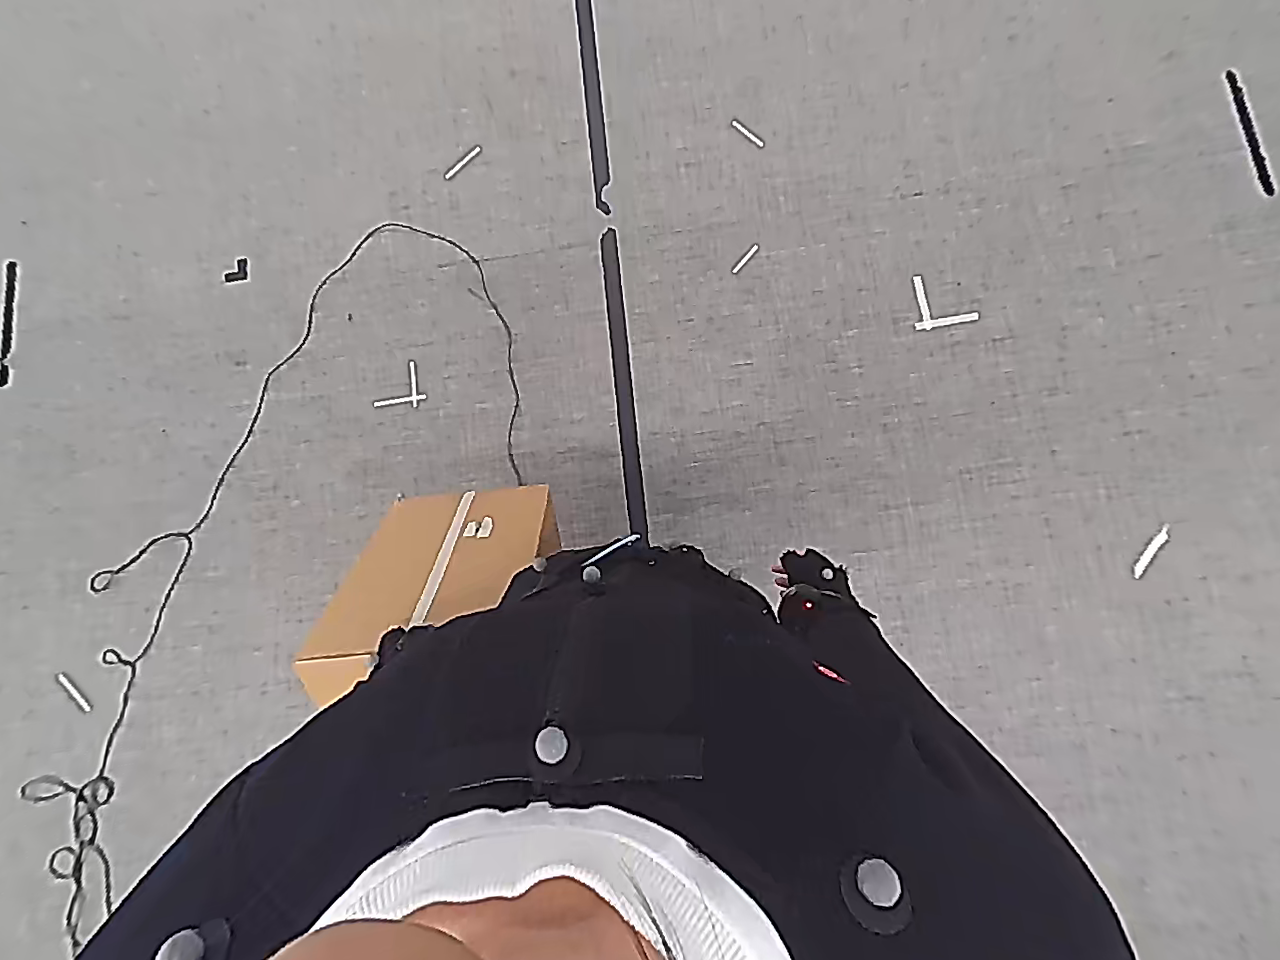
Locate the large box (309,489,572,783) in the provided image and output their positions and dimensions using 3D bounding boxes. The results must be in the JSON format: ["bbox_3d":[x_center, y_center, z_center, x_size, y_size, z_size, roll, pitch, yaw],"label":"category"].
[{"bbox_3d":[-0.305,0.260,0.983,0.320,0.408,0.320,-4,120,0],"label":"large box"}]
